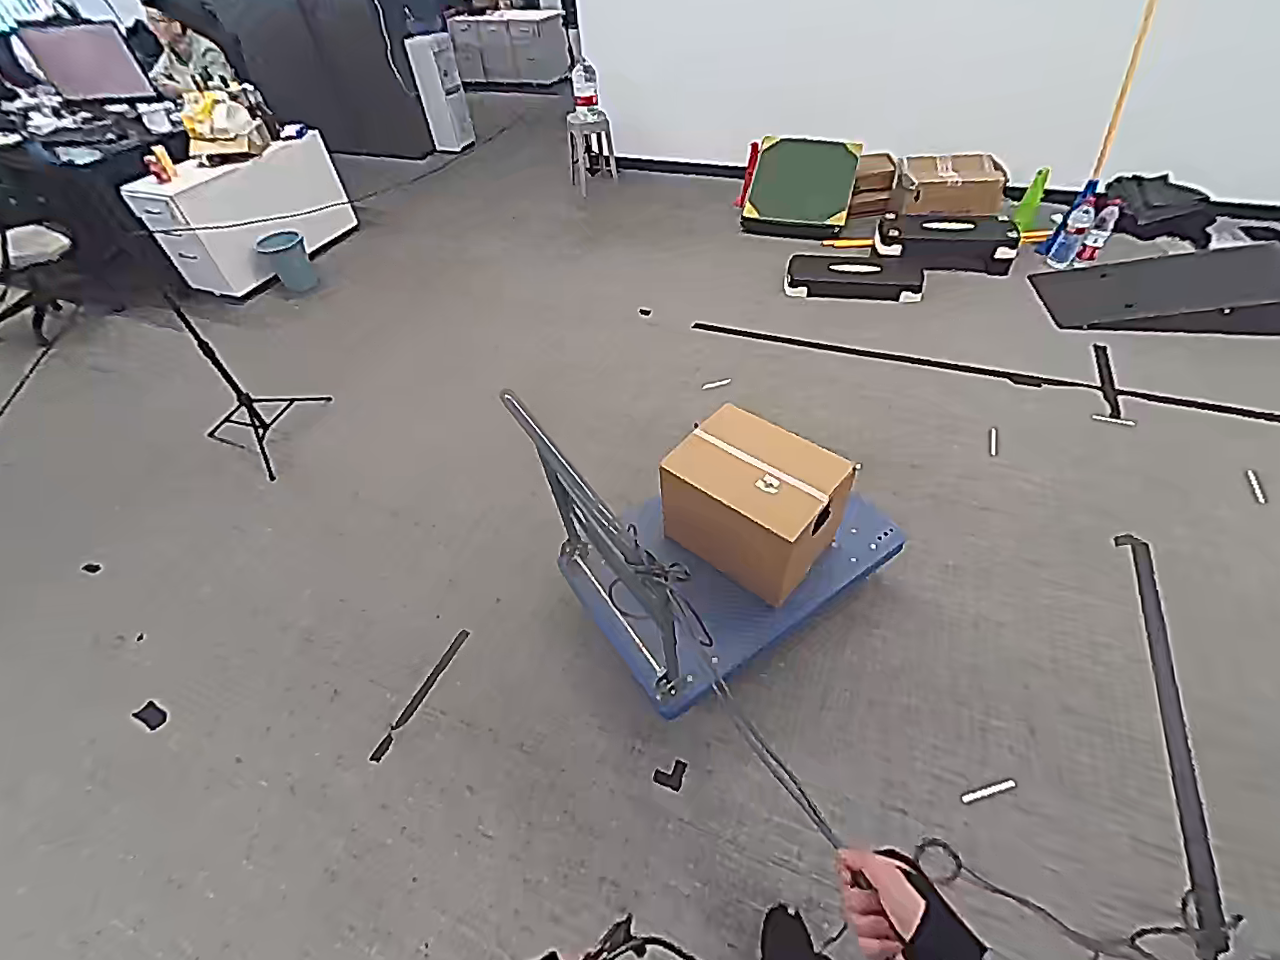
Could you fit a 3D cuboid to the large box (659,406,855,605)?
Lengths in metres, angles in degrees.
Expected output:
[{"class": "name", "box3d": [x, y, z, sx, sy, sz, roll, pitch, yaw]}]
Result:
[{"class": "large box", "box3d": [0.301, 0.063, 1.488, 0.408, 0.320, 0.320, 32, 59, 28]}]
